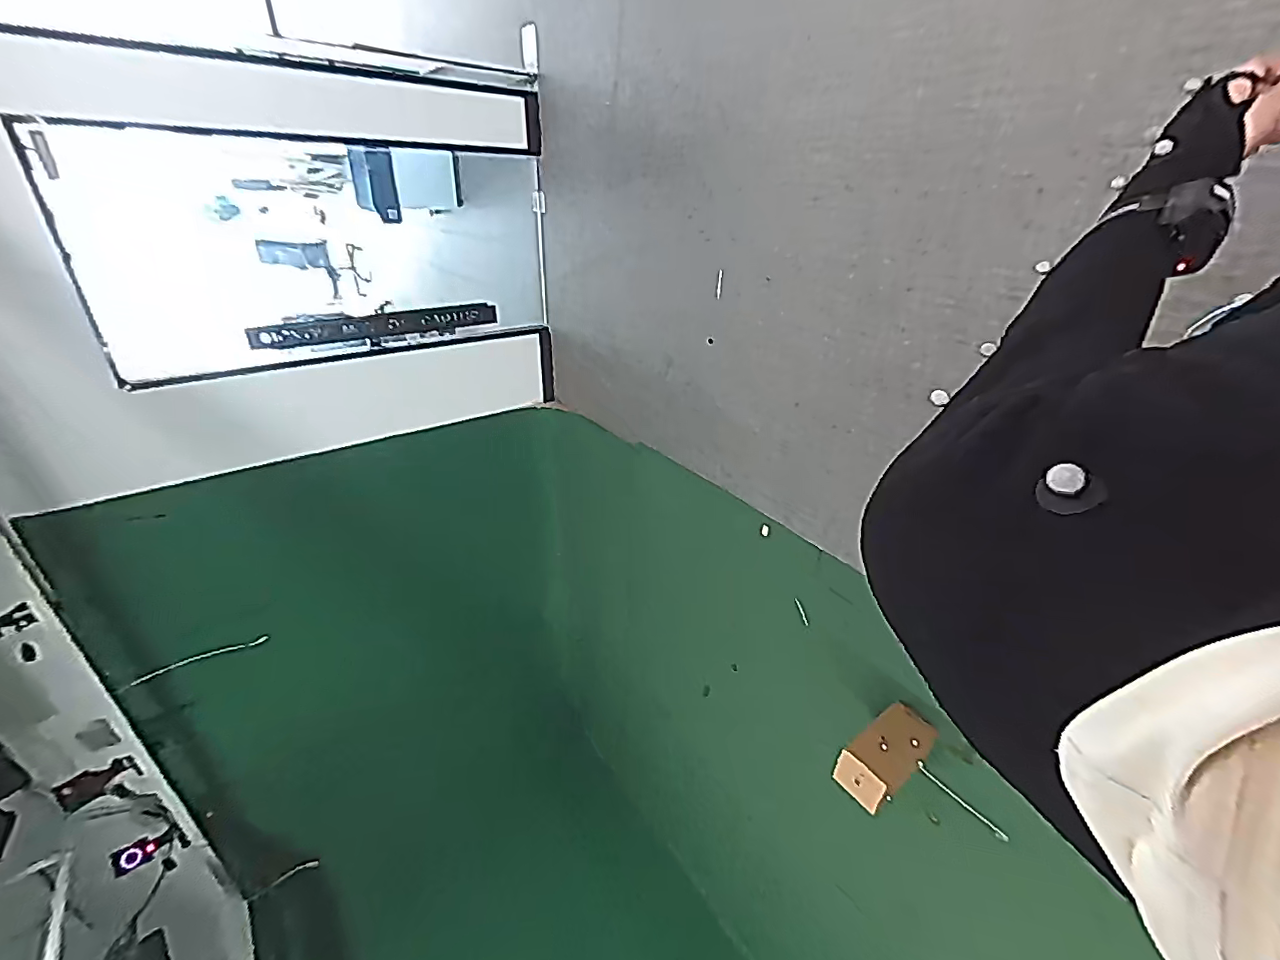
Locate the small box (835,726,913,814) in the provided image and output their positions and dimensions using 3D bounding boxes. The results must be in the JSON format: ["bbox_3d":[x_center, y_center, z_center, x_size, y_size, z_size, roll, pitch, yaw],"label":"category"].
[{"bbox_3d":[0.812,0.997,1.870,0.168,0.176,0.179,35,133,42],"label":"small box"}]
